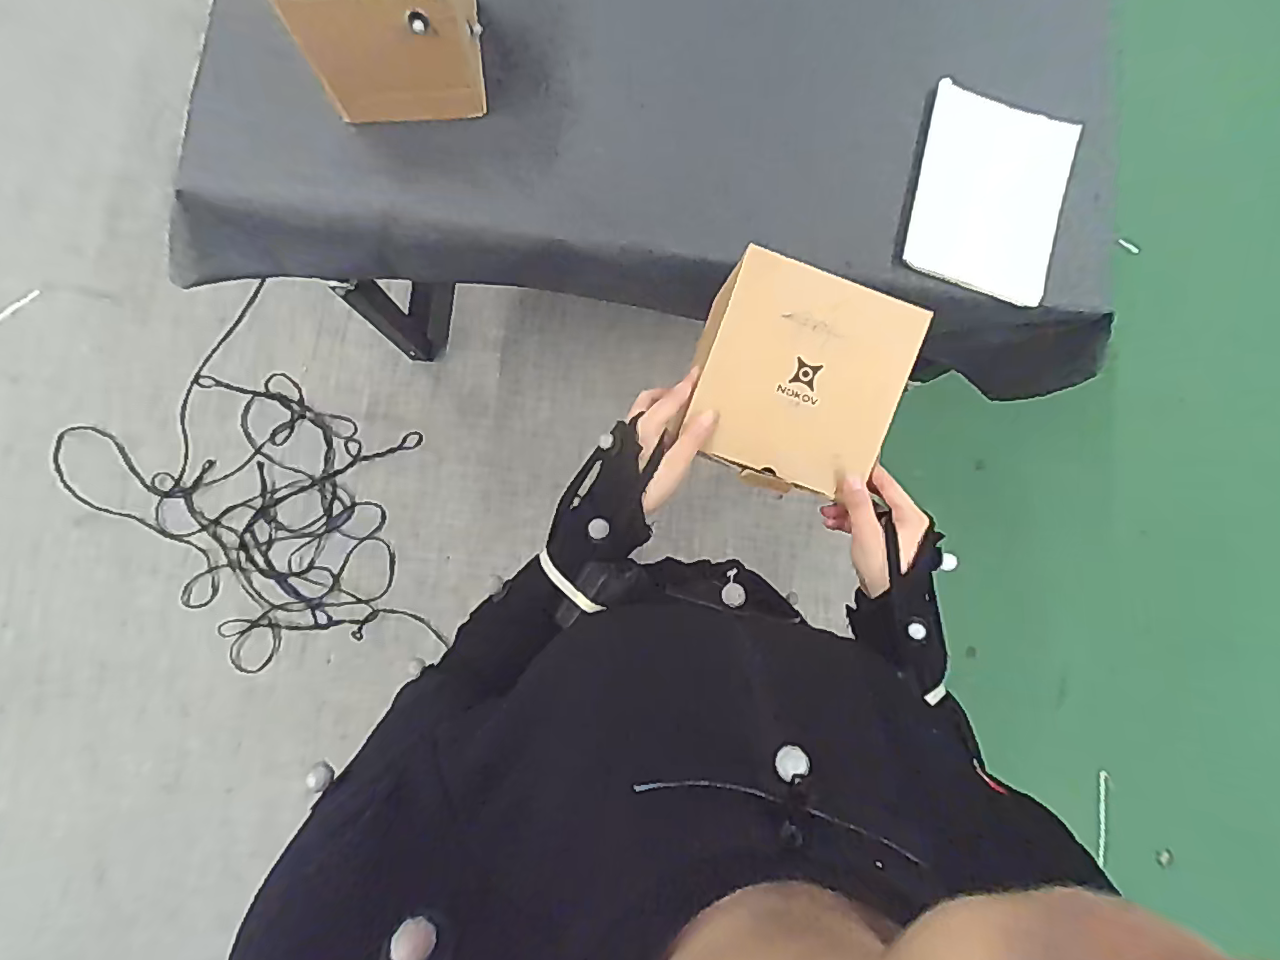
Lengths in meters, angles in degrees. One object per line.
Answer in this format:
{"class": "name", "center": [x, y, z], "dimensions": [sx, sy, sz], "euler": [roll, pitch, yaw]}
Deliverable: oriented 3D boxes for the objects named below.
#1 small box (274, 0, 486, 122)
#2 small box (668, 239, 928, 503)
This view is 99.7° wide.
{"class": "small box", "center": [-0.285, -0.538, 0.608], "dimensions": [0.179, 0.176, 0.168], "euler": [-6, 84, -5]}
{"class": "small box", "center": [0.131, -0.093, 0.523], "dimensions": [0.168, 0.176, 0.179], "euler": [19, 93, -4]}
